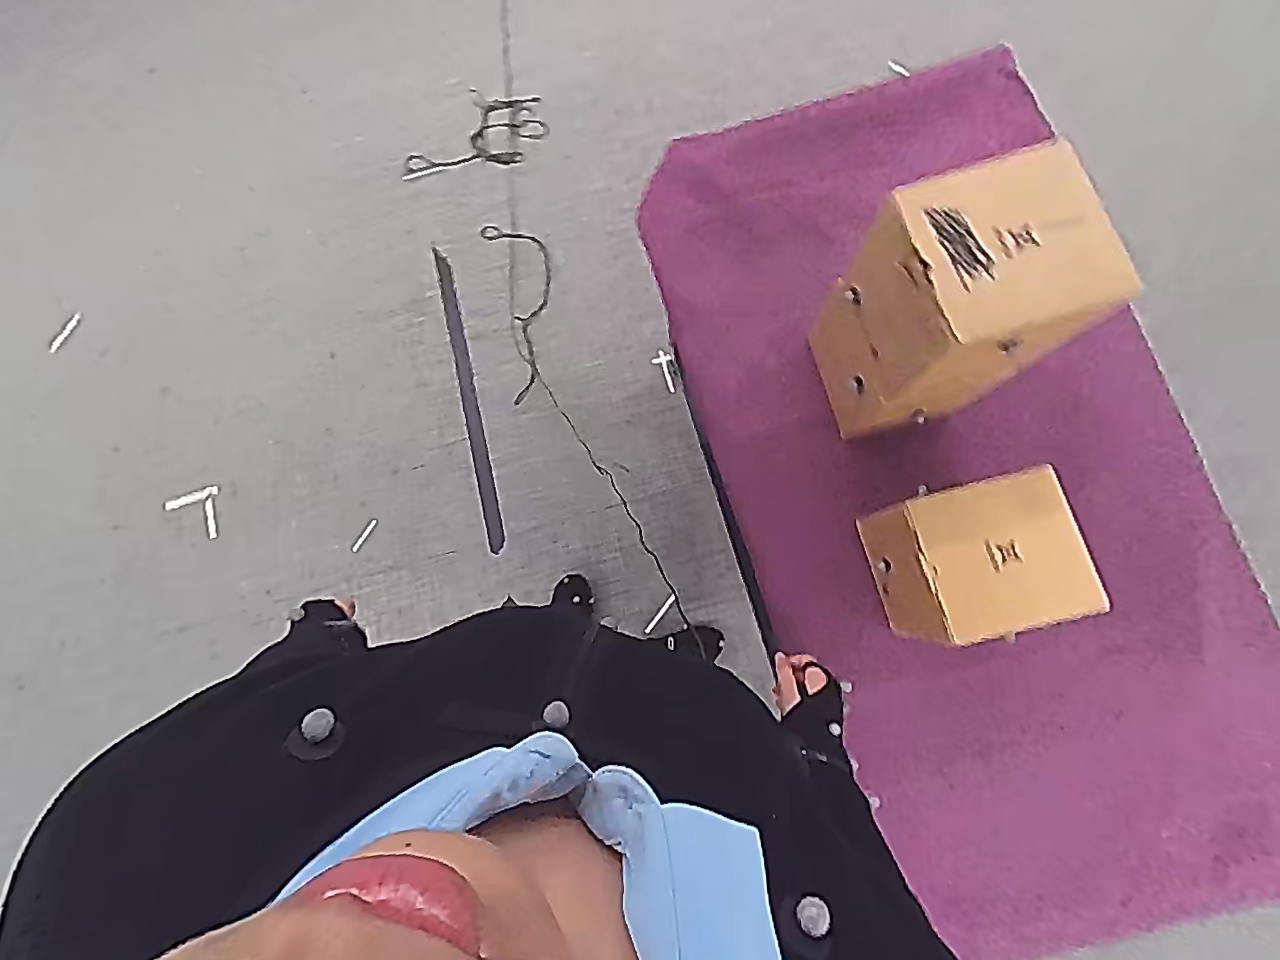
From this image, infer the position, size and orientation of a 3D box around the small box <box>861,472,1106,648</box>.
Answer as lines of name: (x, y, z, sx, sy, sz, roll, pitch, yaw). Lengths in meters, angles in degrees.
small box: (0.410, 0.100, 0.680, 0.179, 0.176, 0.168, -14, 79, 1)

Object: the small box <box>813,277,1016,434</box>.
small box: (0.354, -0.172, 0.734, 0.168, 0.176, 0.179, -14, 79, 1)

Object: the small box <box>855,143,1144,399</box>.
small box: (0.349, -0.203, 0.573, 0.179, 0.176, 0.168, -16, 79, 1)
